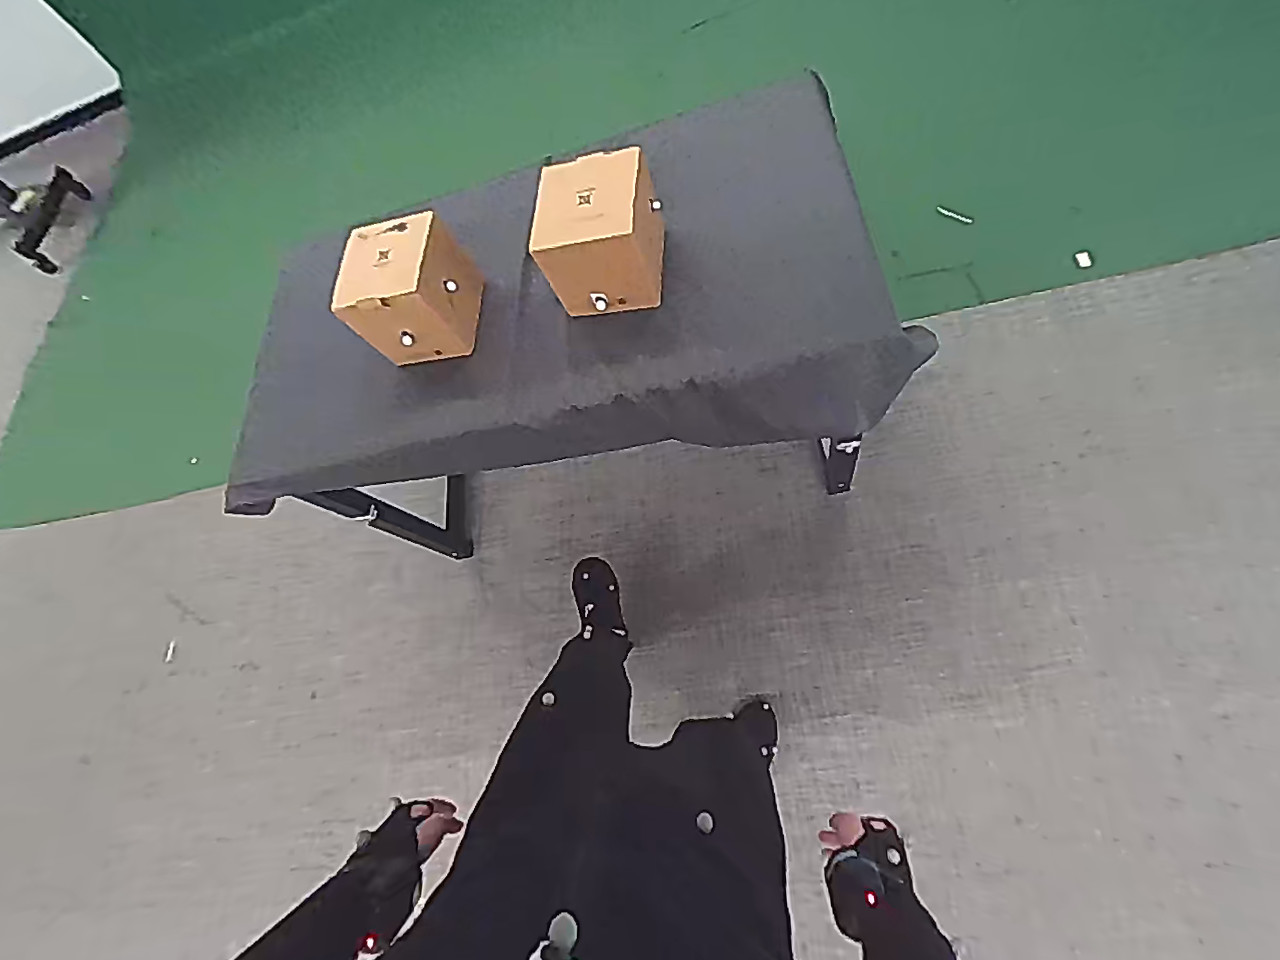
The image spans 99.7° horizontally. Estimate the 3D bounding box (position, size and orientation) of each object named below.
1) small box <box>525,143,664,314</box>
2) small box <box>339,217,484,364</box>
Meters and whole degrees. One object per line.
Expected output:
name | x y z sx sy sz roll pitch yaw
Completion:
small box | -0.063 -0.399 0.880 0.168 0.176 0.179 -2 69 18
small box | -0.397 -0.326 0.971 0.168 0.176 0.179 -8 66 14
